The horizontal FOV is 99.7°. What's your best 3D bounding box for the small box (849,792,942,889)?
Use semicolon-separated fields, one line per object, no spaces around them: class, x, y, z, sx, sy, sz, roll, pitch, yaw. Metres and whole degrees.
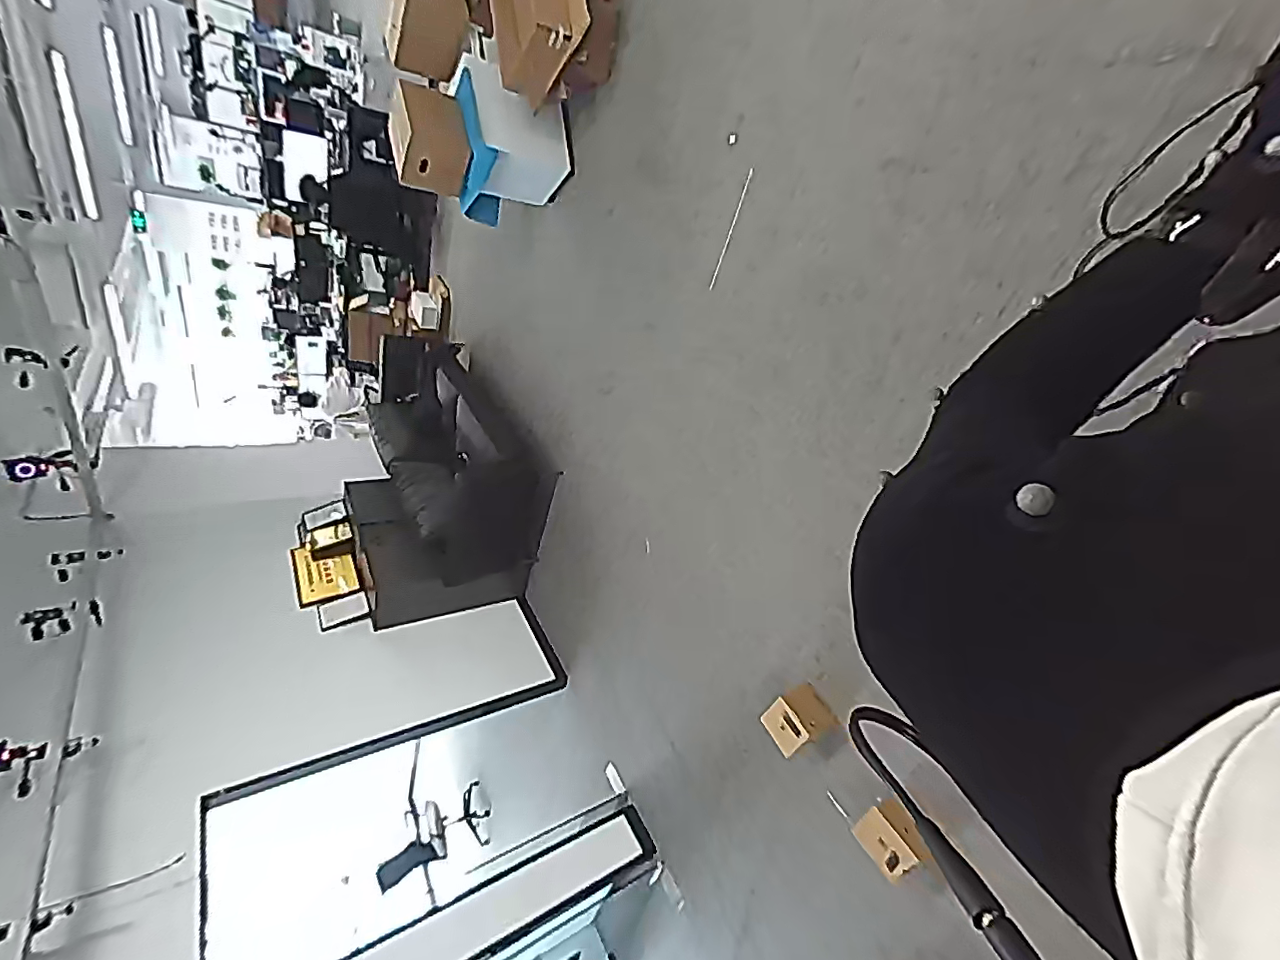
small box;0.821;1.148;1.732;0.179;0.176;0.168;49;131;40
